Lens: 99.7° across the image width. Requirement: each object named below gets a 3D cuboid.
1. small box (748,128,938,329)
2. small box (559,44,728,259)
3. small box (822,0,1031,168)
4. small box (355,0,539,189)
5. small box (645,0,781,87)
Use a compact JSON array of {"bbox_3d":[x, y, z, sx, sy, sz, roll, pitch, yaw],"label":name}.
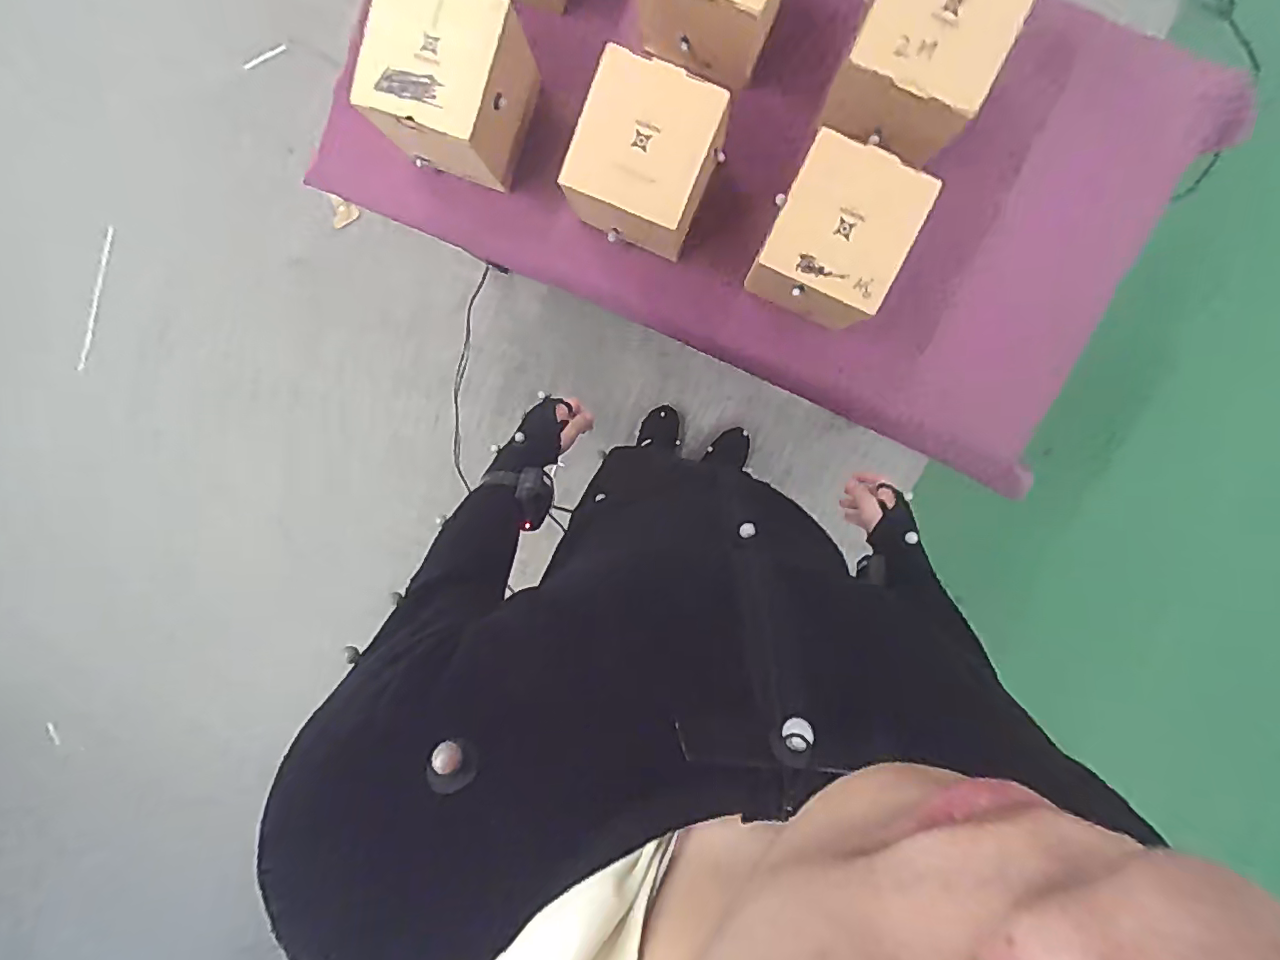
[{"bbox_3d":[0.262,-0.330,0.750,0.168,0.176,0.179,26,100,2],"label":"small box"},{"bbox_3d":[0.008,-0.441,0.758,0.168,0.176,0.179,24,101,2],"label":"small box"},{"bbox_3d":[0.360,-0.553,0.705,0.168,0.176,0.179,25,101,2],"label":"small box"},{"bbox_3d":[-0.258,-0.548,0.761,0.168,0.176,0.179,21,98,1],"label":"small box"},{"bbox_3d":[0.107,-0.677,0.711,0.168,0.176,0.179,23,102,1],"label":"small box"}]
